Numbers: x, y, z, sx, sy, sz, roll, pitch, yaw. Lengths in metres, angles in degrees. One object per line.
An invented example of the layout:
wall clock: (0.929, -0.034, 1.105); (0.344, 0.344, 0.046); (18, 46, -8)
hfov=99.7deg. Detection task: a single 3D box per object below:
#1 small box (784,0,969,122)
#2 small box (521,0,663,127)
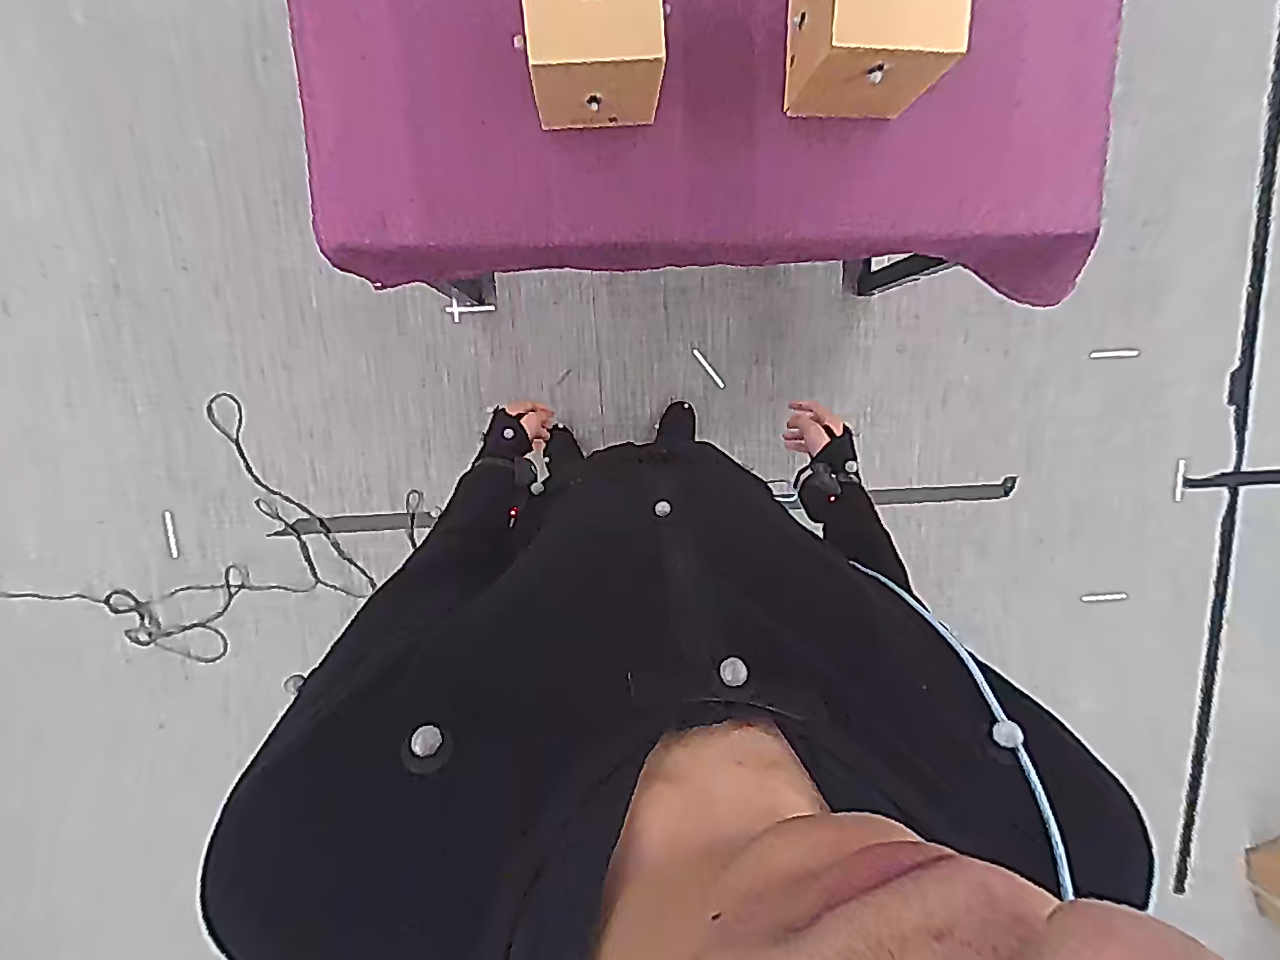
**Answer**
small box: (0.311, -0.612, 0.729); (0.179, 0.176, 0.168); (0, 100, -4)
small box: (-0.062, -0.586, 0.703); (0.168, 0.176, 0.179); (-5, 100, -4)
